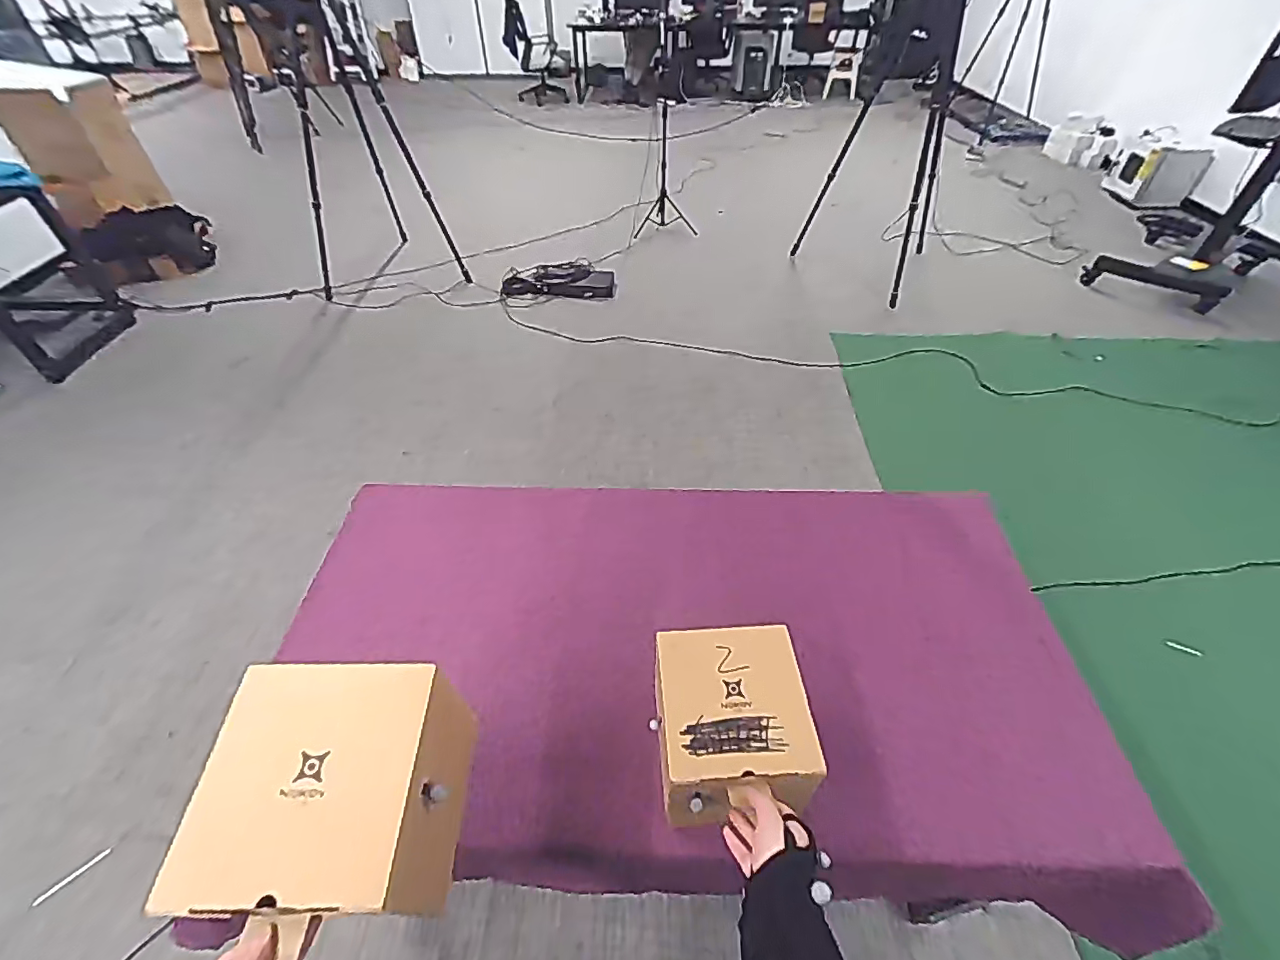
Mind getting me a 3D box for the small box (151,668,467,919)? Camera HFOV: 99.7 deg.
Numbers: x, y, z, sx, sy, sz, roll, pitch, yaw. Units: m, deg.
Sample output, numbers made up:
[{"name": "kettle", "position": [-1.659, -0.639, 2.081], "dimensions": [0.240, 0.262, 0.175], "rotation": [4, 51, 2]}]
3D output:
[{"name": "small box", "position": [-0.267, 0.288, 0.495], "dimensions": [0.168, 0.176, 0.179], "rotation": [1, 52, -2]}]
